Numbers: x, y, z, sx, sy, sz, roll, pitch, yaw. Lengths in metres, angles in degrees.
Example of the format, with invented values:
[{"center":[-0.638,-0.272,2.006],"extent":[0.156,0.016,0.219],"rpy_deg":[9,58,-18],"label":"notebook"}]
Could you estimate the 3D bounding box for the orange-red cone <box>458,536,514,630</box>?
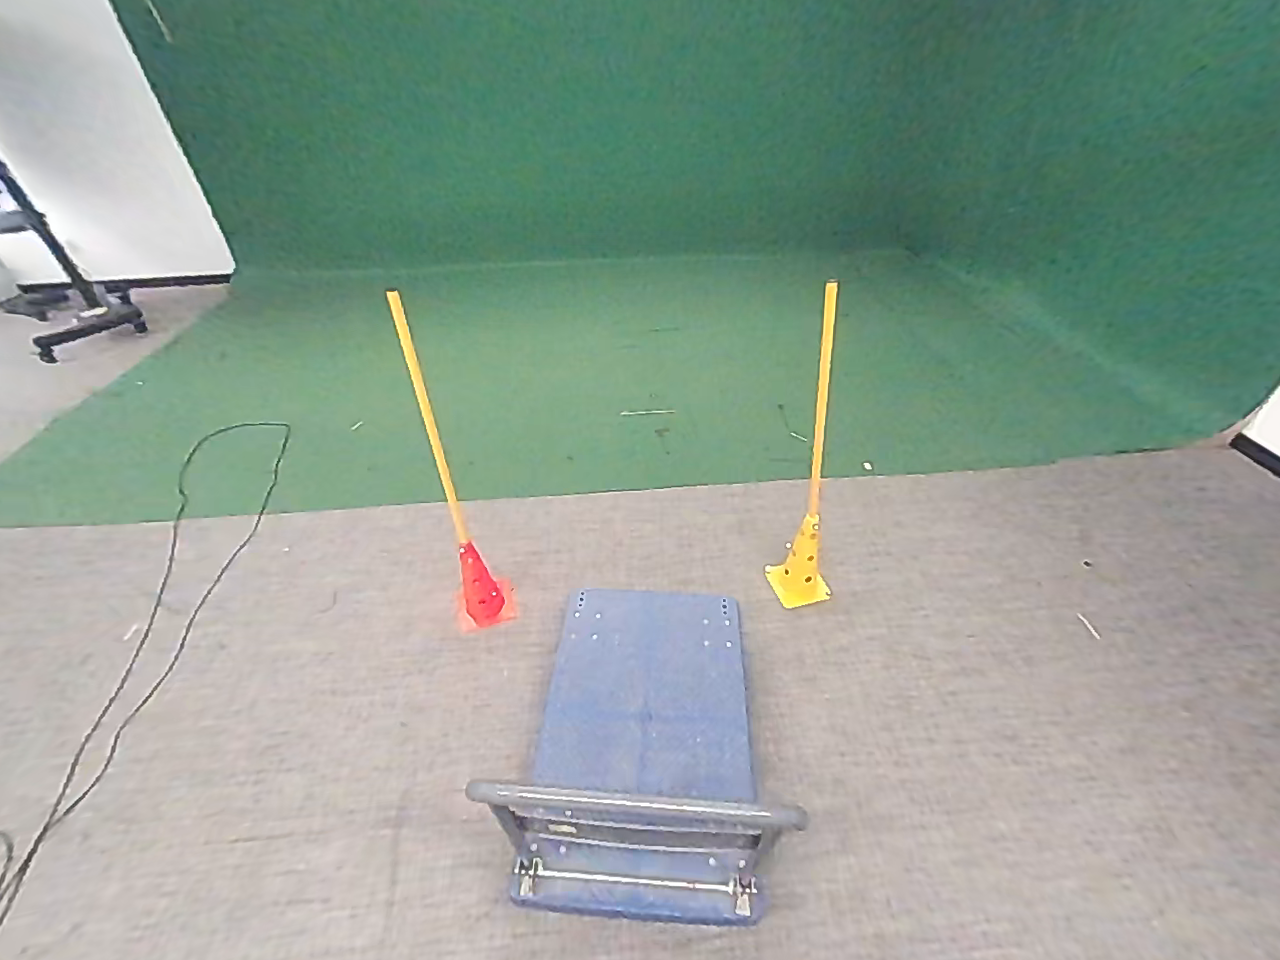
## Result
[{"center":[-0.586,0.335,1.920],"extent":[0.199,0.360,0.198],"rpy_deg":[-14,41,-12],"label":"orange-red cone"}]
